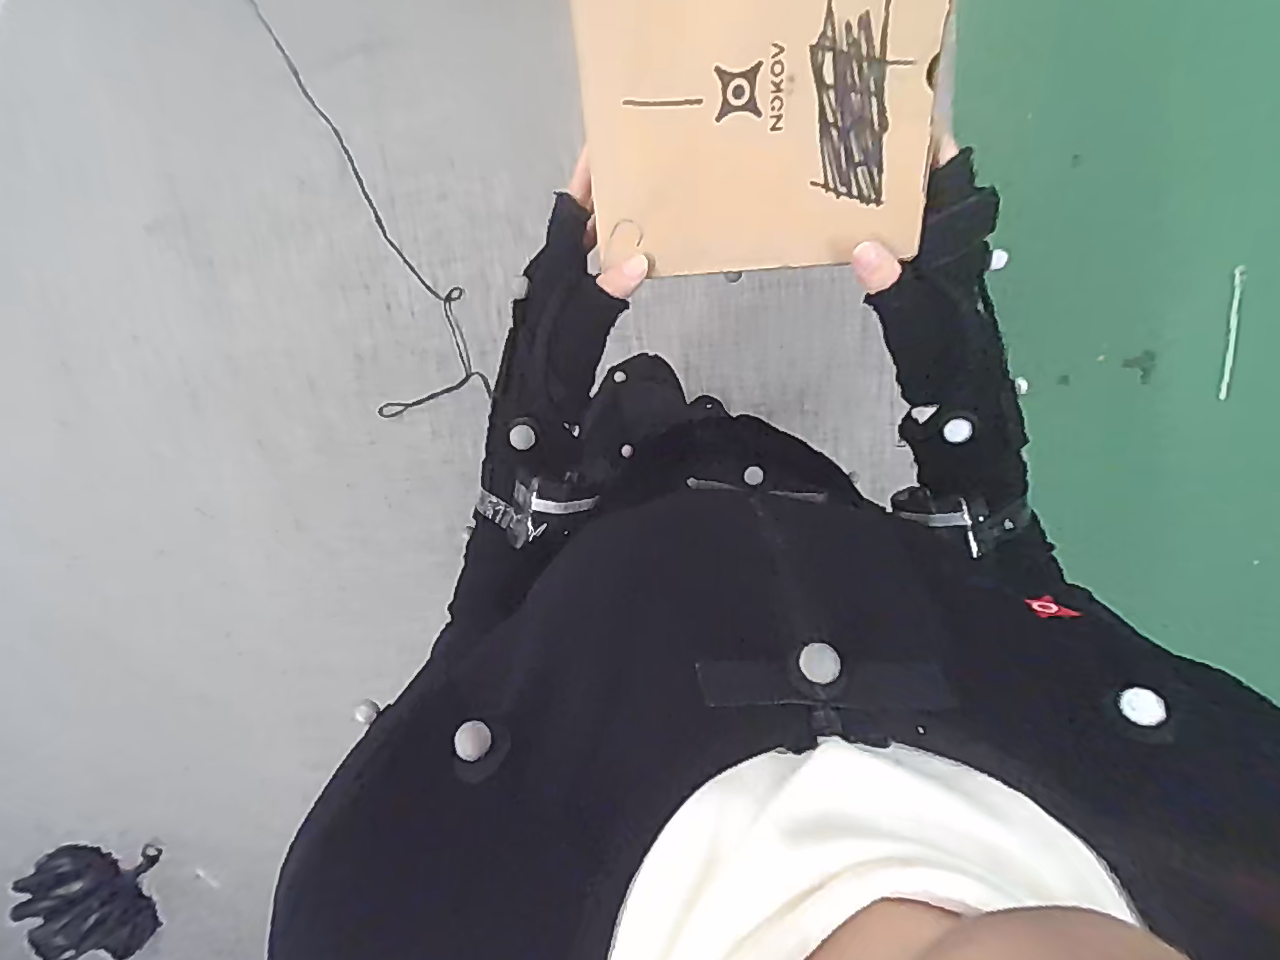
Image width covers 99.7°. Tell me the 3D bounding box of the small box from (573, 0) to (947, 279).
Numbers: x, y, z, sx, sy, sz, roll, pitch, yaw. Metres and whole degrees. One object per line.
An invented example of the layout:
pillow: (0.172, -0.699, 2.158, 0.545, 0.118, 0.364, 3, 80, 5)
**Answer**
small box: (0.065, -0.230, 0.341, 0.179, 0.176, 0.168, -1, 118, 8)
